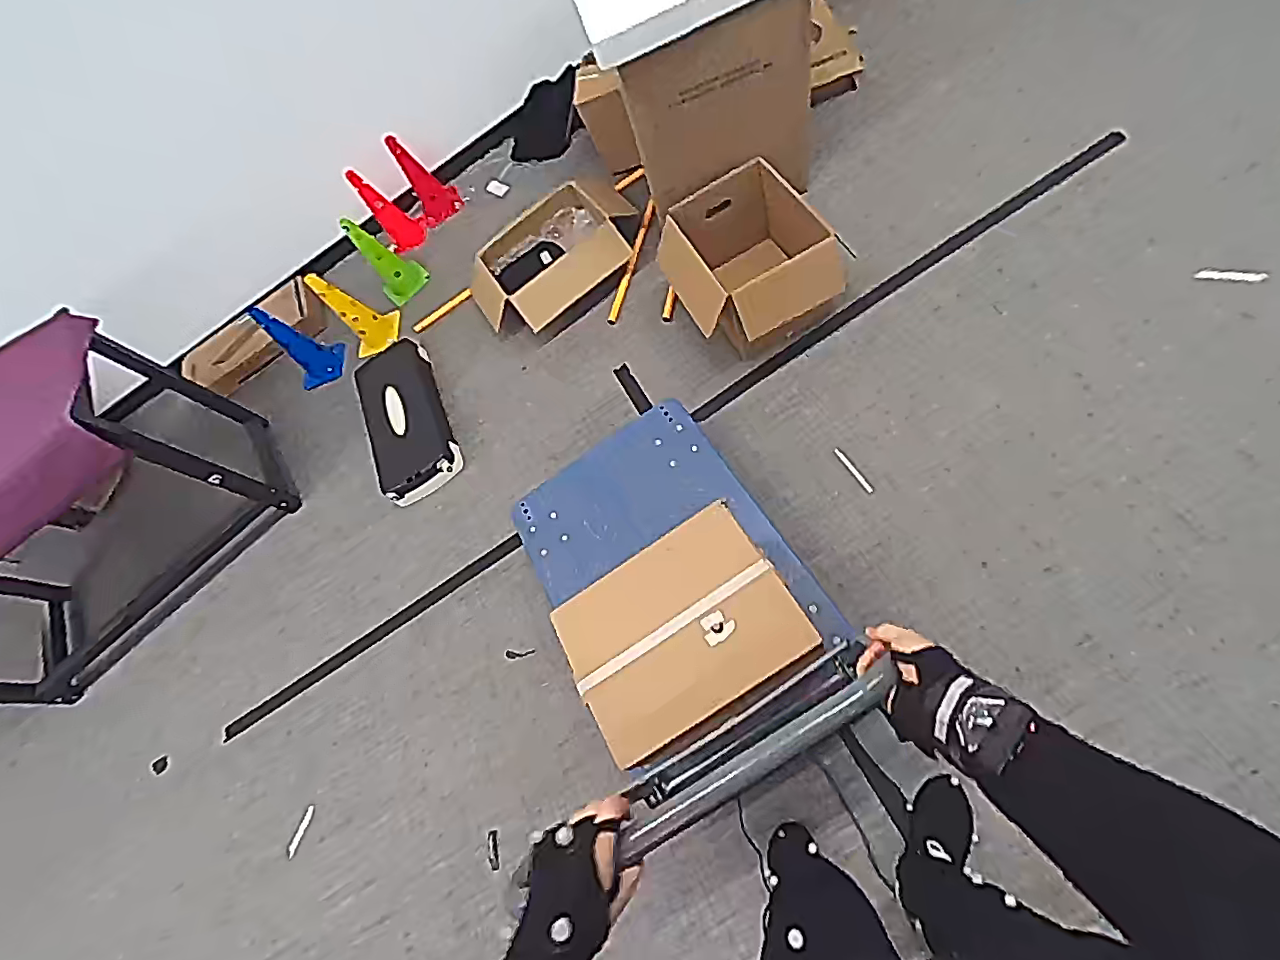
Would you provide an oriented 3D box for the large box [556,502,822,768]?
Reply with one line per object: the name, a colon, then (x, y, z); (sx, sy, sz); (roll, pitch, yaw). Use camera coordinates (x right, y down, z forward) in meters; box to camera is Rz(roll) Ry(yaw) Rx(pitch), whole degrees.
large box: (0.111, 0.323, 1.102); (0.408, 0.320, 0.320); (-35, 61, 2)
